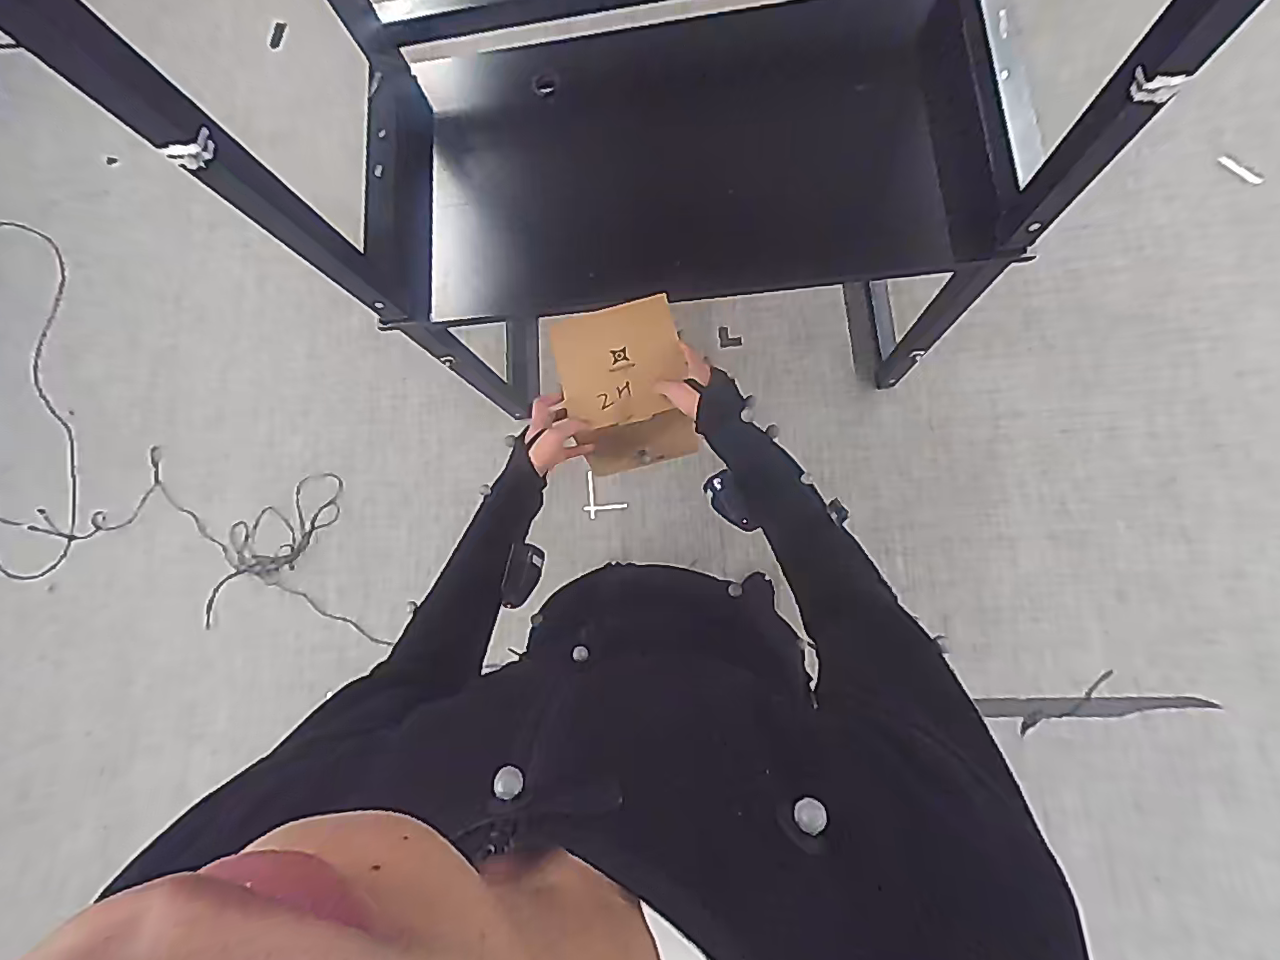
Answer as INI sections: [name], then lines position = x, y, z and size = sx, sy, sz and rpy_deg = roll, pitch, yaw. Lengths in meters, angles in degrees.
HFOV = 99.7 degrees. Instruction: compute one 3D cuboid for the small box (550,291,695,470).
[small box]
position = -0.020, -0.134, 0.778
size = 0.168, 0.176, 0.179
rpy_deg = -14, 71, 2
